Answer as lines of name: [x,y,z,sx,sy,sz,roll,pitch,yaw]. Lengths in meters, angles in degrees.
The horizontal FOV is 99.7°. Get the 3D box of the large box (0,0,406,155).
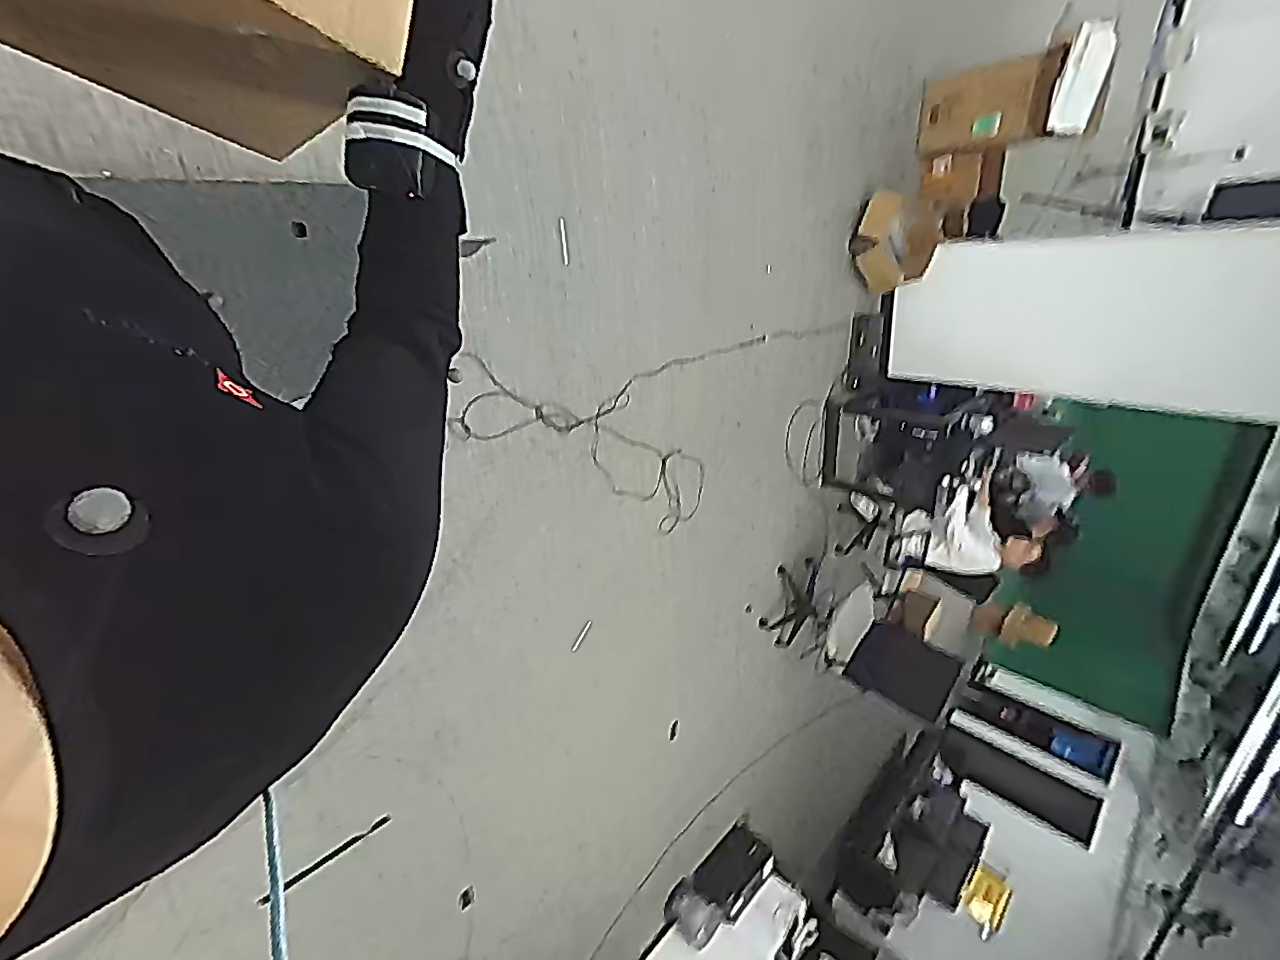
large box: [-0.389,-0.476,0.326,0.408,0.320,0.320,6,98,-48]
